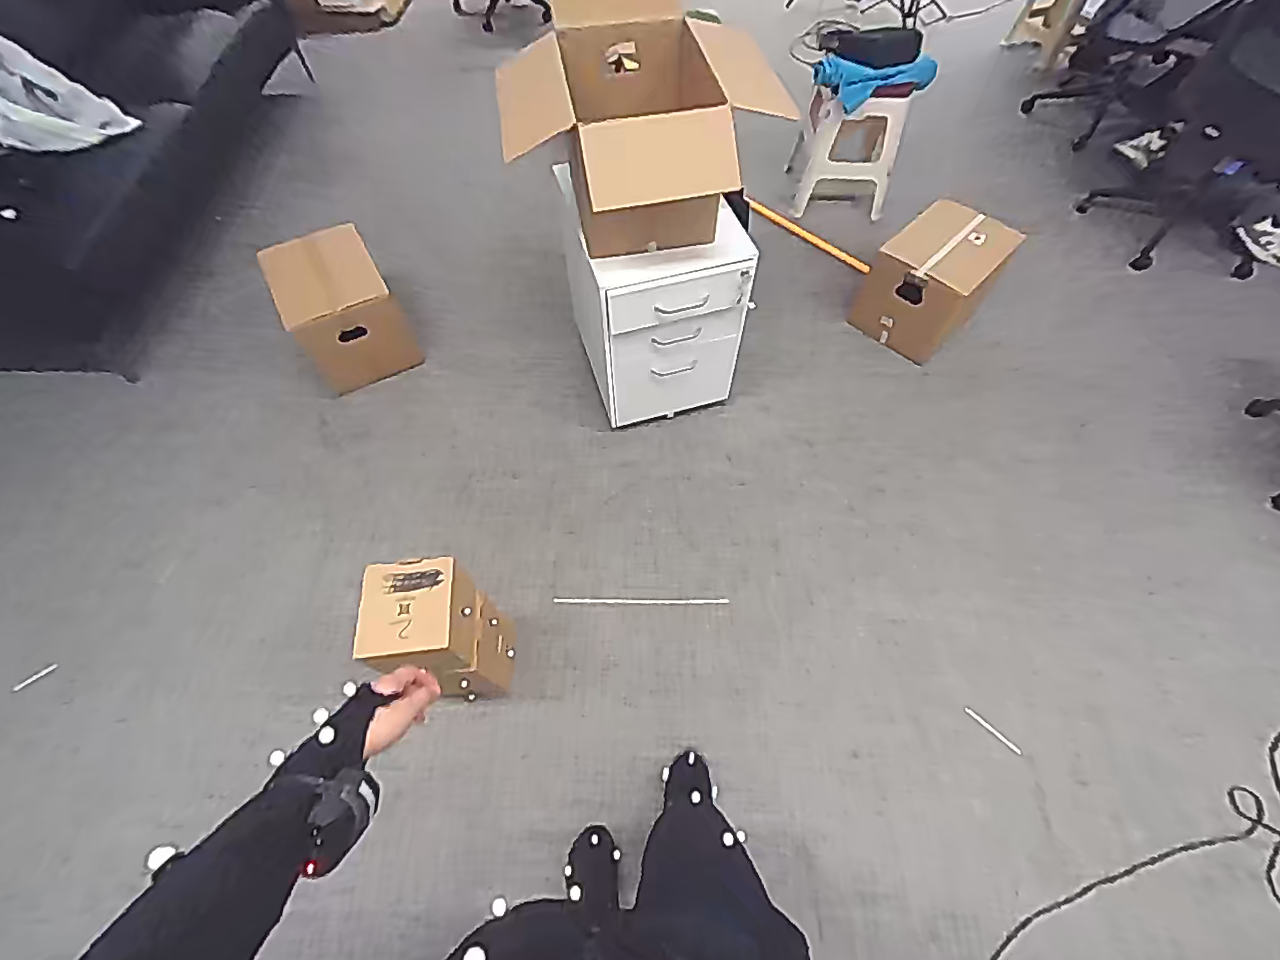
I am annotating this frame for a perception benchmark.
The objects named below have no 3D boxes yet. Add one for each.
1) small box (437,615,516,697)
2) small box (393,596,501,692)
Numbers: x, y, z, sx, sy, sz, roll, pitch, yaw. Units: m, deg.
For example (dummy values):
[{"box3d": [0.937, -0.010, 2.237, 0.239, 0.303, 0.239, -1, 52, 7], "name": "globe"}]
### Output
[{"box3d": [-0.413, 0.439, 1.342, 0.179, 0.176, 0.168, -2, 59, 0], "name": "small box"}, {"box3d": [-0.414, 0.366, 1.196, 0.179, 0.176, 0.168, -5, 59, 0], "name": "small box"}]
